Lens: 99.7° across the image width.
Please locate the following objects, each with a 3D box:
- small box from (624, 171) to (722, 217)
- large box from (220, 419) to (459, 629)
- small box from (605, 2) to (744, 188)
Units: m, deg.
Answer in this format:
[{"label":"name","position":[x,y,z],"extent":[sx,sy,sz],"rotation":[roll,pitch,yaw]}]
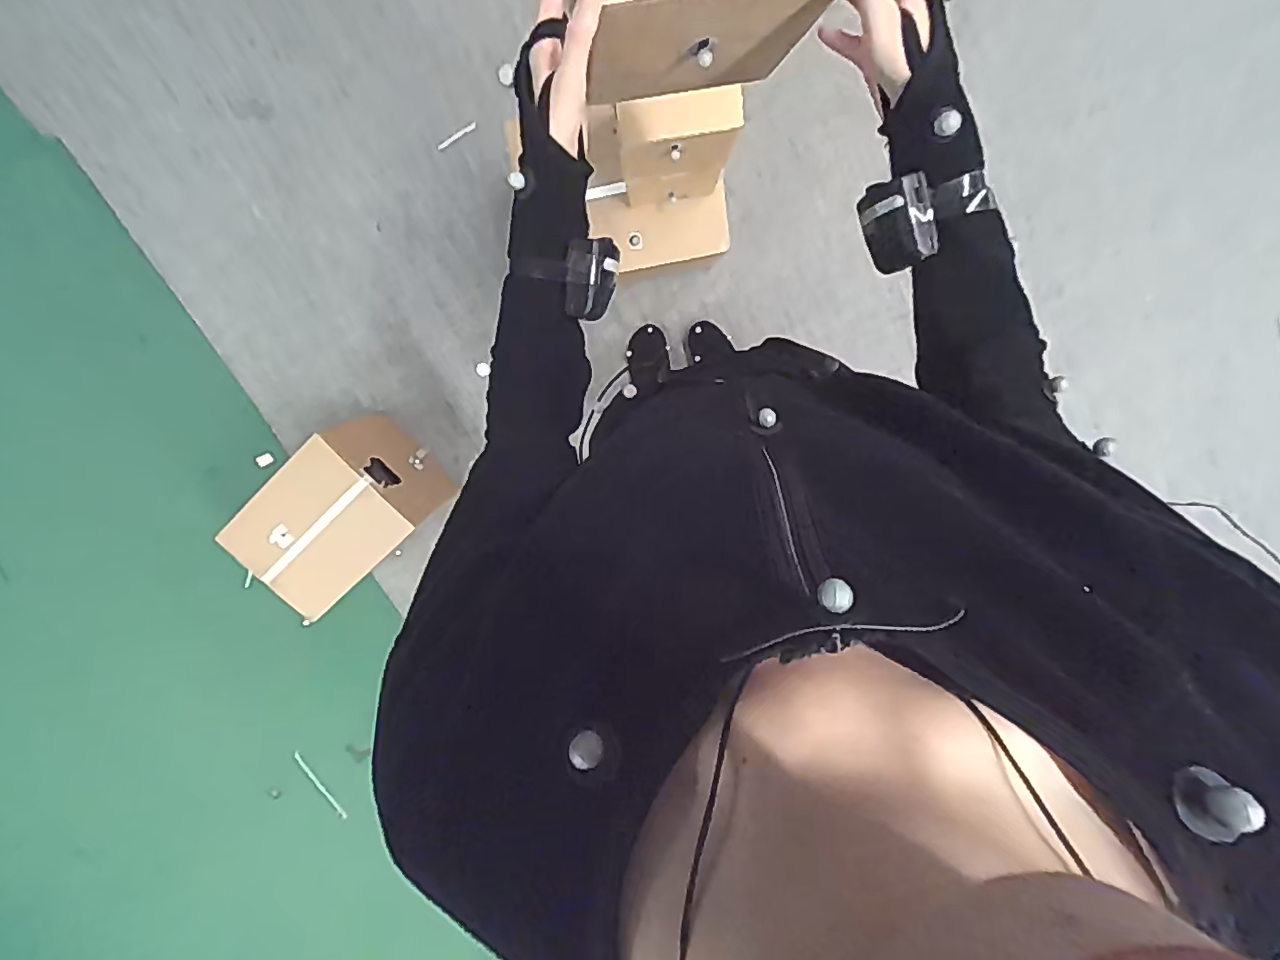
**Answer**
[{"label":"small box","position":[0.048,-0.595,0.967],"extent":[0.168,0.176,0.179],"rotation":[-8,103,4]},{"label":"large box","position":[-0.766,0.101,1.433],"extent":[0.408,0.320,0.320],"rotation":[-40,99,12]},{"label":"small box","position":[0.050,-0.558,0.808],"extent":[0.179,0.176,0.168],"rotation":[-7,103,4]}]
